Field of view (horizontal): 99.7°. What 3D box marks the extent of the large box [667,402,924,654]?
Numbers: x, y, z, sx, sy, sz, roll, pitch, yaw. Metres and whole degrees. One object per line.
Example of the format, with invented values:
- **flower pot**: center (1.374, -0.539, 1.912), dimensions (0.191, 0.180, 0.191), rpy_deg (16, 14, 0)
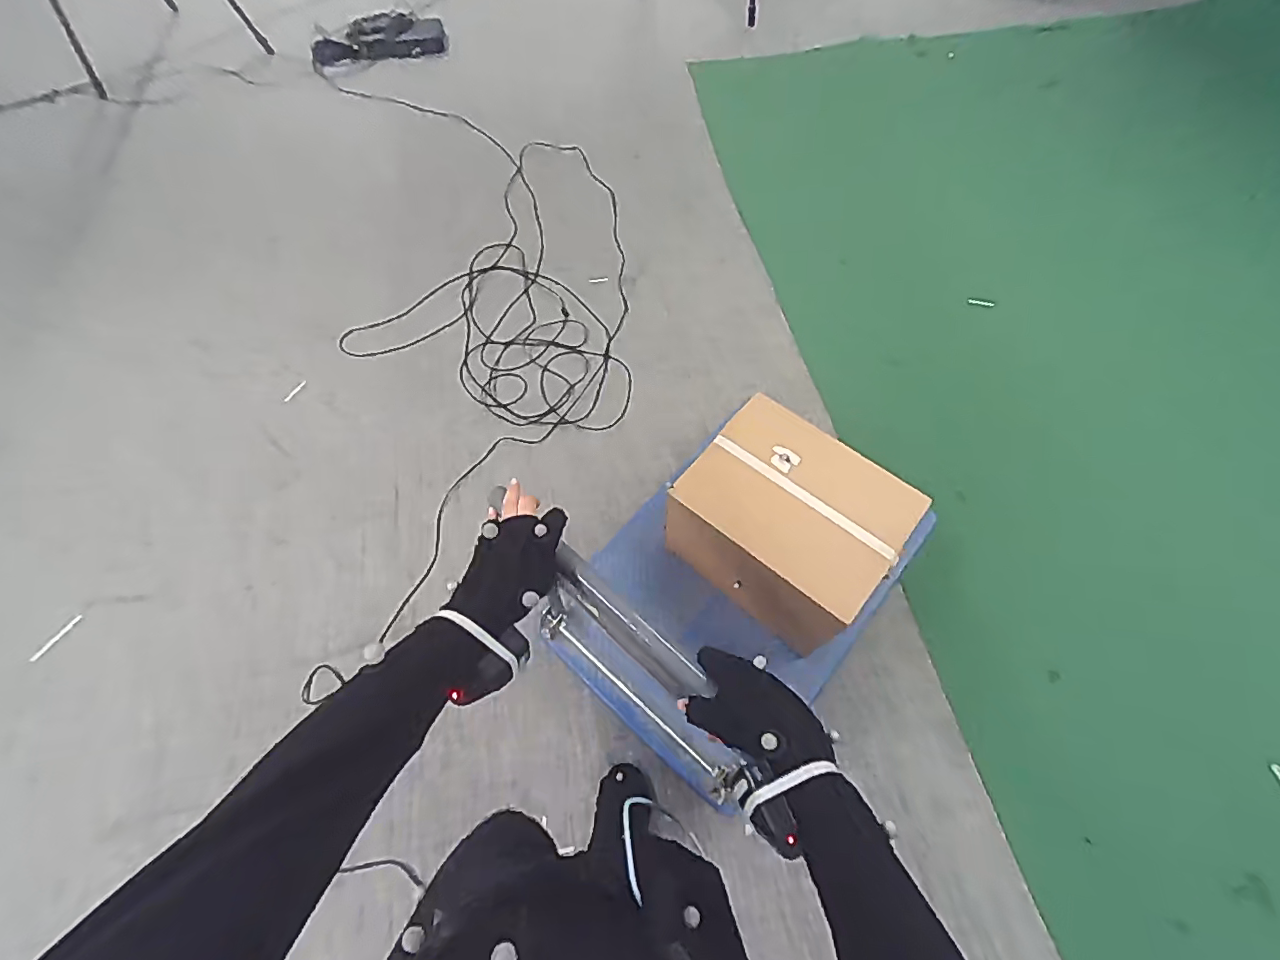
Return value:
- **large box**: center (0.307, 0.111, 1.180), dimensions (0.408, 0.320, 0.320), rpy_deg (37, 68, 19)
